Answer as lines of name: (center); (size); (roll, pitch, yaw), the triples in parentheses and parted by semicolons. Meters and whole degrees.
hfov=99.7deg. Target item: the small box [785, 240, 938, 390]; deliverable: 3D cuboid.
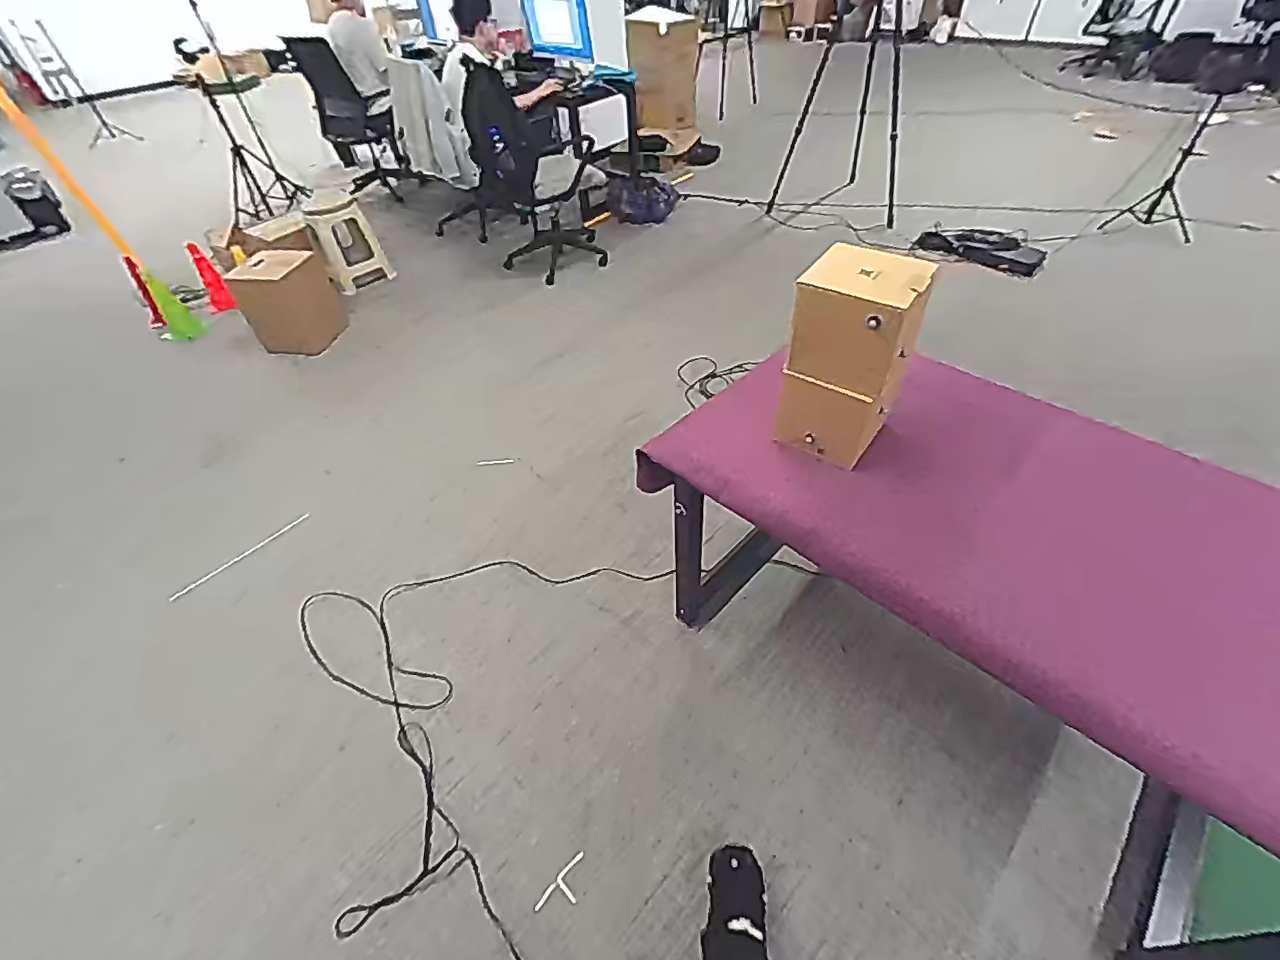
small box: (0.363, -0.277, 0.913); (0.179, 0.176, 0.168); (26, 55, 26)
